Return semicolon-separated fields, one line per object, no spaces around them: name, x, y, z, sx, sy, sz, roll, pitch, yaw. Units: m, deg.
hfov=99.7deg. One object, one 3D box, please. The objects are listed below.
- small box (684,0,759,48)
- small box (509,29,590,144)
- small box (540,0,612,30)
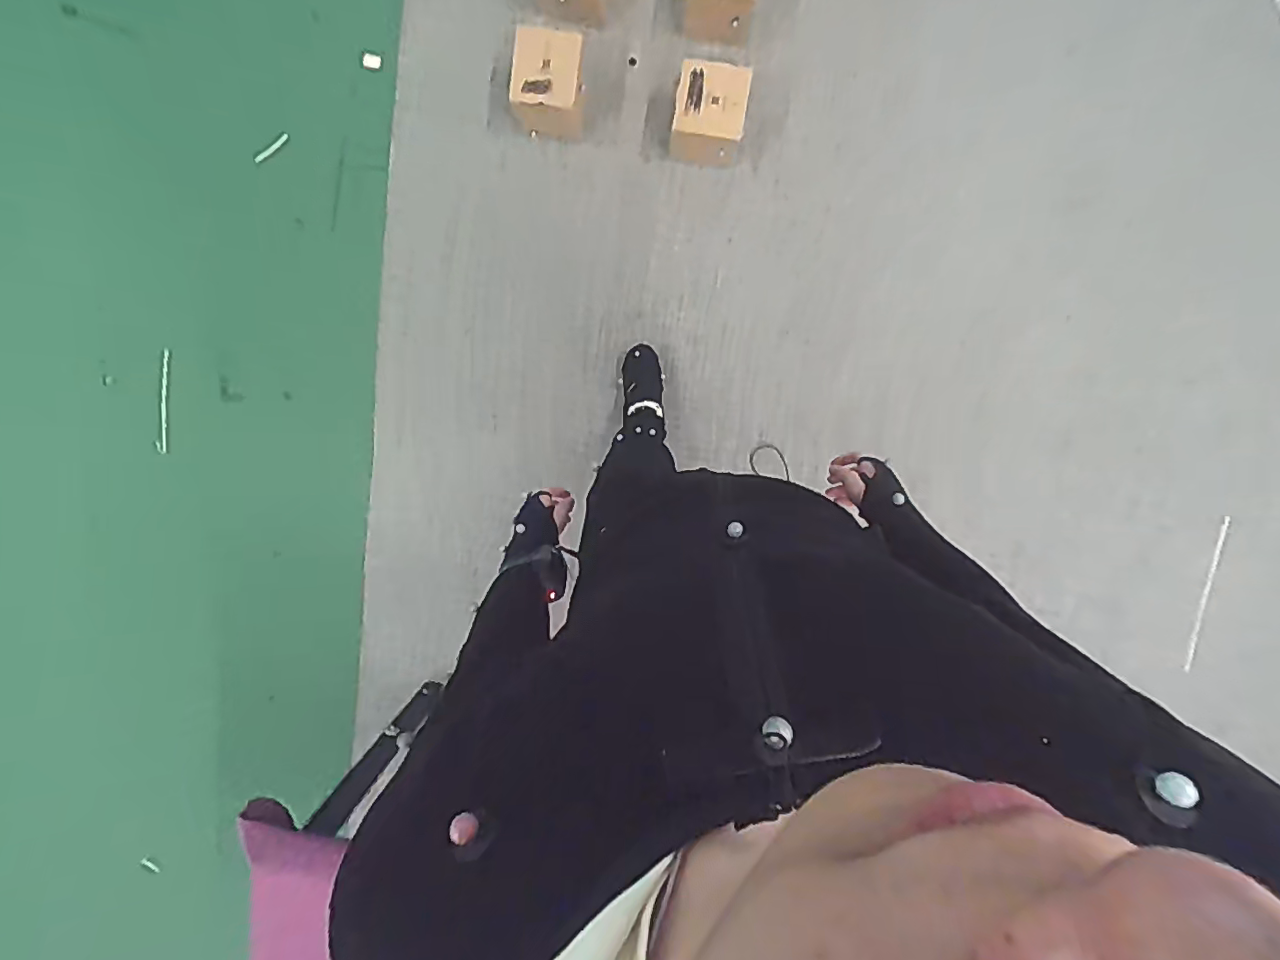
small box;0.209;-1.234;1.359;0.179;0.176;0.168;8;96;2
small box;-0.228;-1.010;1.404;0.168;0.176;0.179;9;96;1
small box;-0.164;-1.290;1.368;0.179;0.176;0.168;11;97;2
